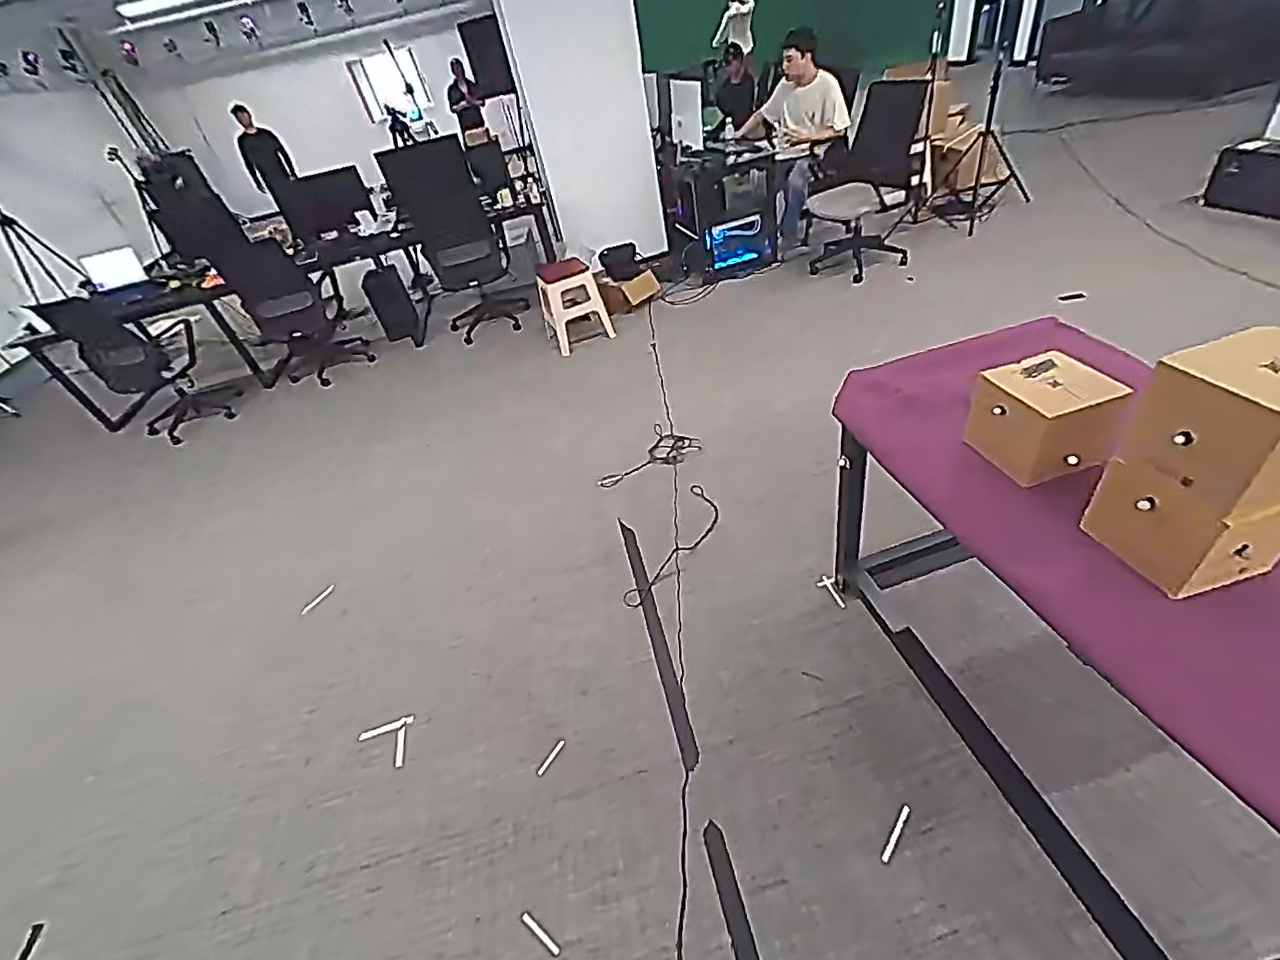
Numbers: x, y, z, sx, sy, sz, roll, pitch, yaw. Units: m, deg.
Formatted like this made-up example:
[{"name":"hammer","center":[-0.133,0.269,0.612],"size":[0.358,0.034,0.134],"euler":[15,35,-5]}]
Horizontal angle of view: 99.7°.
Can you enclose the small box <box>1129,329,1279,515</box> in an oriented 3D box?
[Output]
[{"name":"small box","center":[0.823,-0.077,0.733],"size":[0.179,0.176,0.168],"euler":[-16,39,-3]}]

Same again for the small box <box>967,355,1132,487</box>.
[{"name":"small box","center":[0.776,-0.114,1.050],"size":[0.168,0.176,0.179],"euler":[-17,40,-3]}]

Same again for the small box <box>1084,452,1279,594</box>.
[{"name":"small box","center":[0.848,0.053,0.831],"size":[0.168,0.176,0.179],"euler":[-17,39,-3]}]
